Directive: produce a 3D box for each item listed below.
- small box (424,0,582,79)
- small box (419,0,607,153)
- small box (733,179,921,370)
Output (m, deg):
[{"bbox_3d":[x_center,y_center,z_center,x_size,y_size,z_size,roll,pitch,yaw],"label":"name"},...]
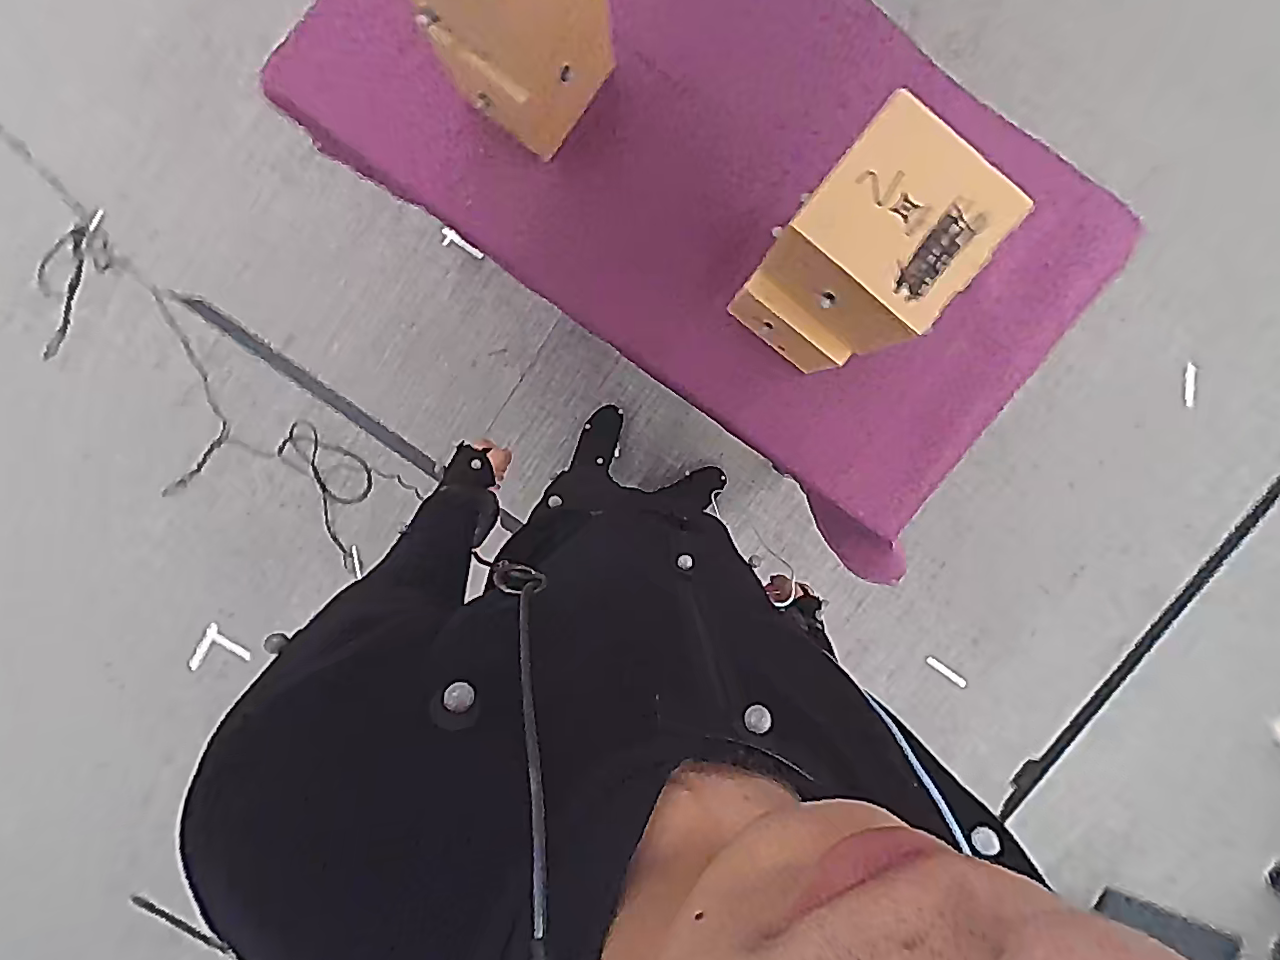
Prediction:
[{"bbox_3d":[-0.155,-0.589,0.575,0.168,0.176,0.179,34,96,-4],"label":"small box"},{"bbox_3d":[-0.157,-0.599,0.739,0.168,0.176,0.179,38,96,-5],"label":"small box"},{"bbox_3d":[0.250,-0.277,0.779,0.168,0.176,0.179,38,95,-4],"label":"small box"}]
